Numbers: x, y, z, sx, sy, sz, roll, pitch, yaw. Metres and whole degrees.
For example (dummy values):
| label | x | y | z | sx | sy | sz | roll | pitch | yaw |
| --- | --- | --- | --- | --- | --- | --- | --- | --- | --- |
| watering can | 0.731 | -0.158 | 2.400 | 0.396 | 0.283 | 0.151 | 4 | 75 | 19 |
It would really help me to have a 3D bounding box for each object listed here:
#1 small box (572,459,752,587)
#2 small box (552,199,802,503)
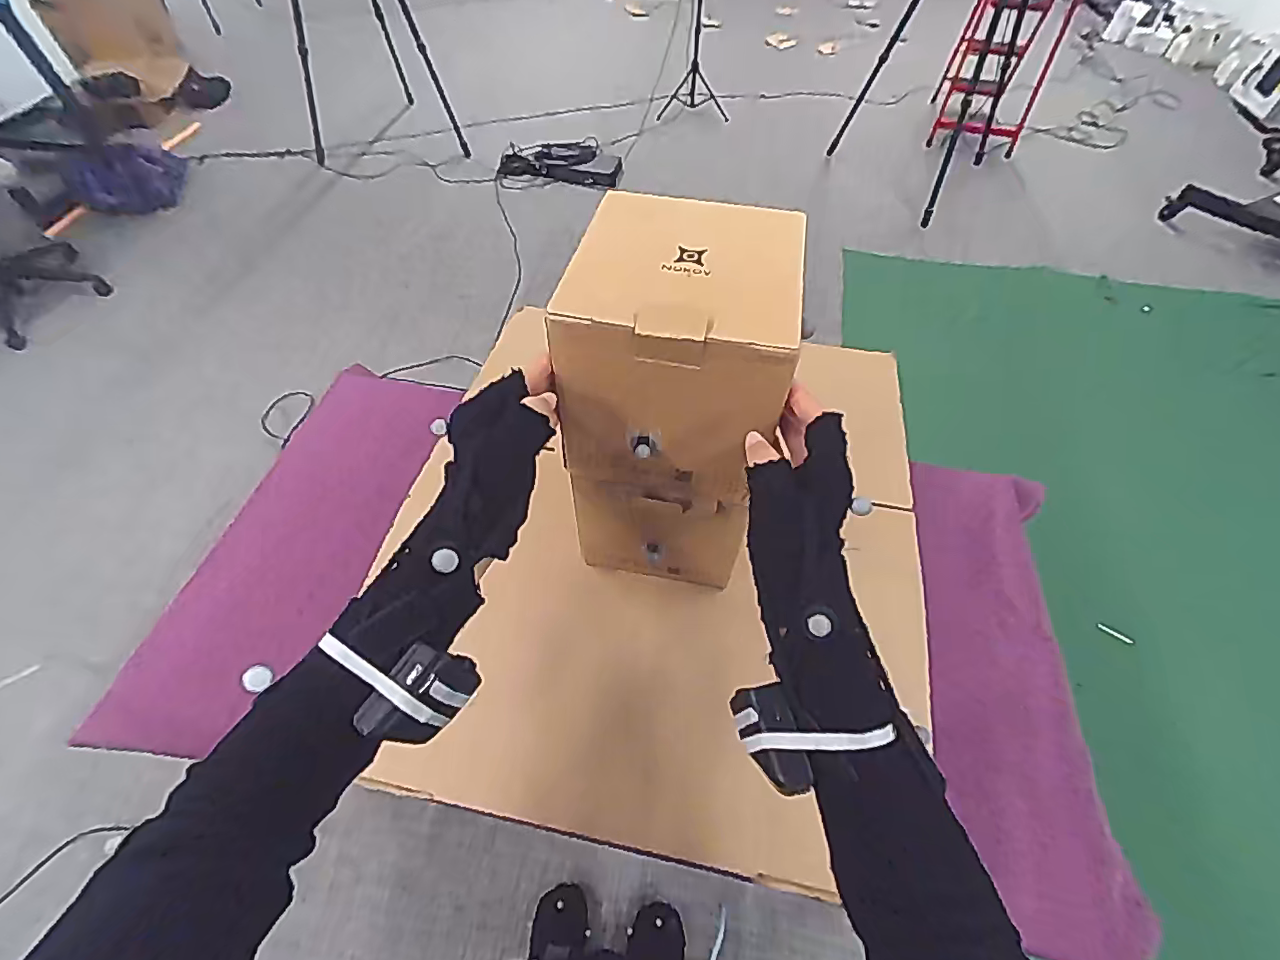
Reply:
| label | x | y | z | sx | sy | sz | roll | pitch | yaw |
| --- | --- | --- | --- | --- | --- | --- | --- | --- | --- |
| small box | 0.032 | -0.009 | 0.593 | 0.168 | 0.176 | 0.179 | 9 | 53 | 7 |
| small box | 0.034 | -0.107 | 0.463 | 0.168 | 0.176 | 0.179 | 10 | 54 | 6 |
